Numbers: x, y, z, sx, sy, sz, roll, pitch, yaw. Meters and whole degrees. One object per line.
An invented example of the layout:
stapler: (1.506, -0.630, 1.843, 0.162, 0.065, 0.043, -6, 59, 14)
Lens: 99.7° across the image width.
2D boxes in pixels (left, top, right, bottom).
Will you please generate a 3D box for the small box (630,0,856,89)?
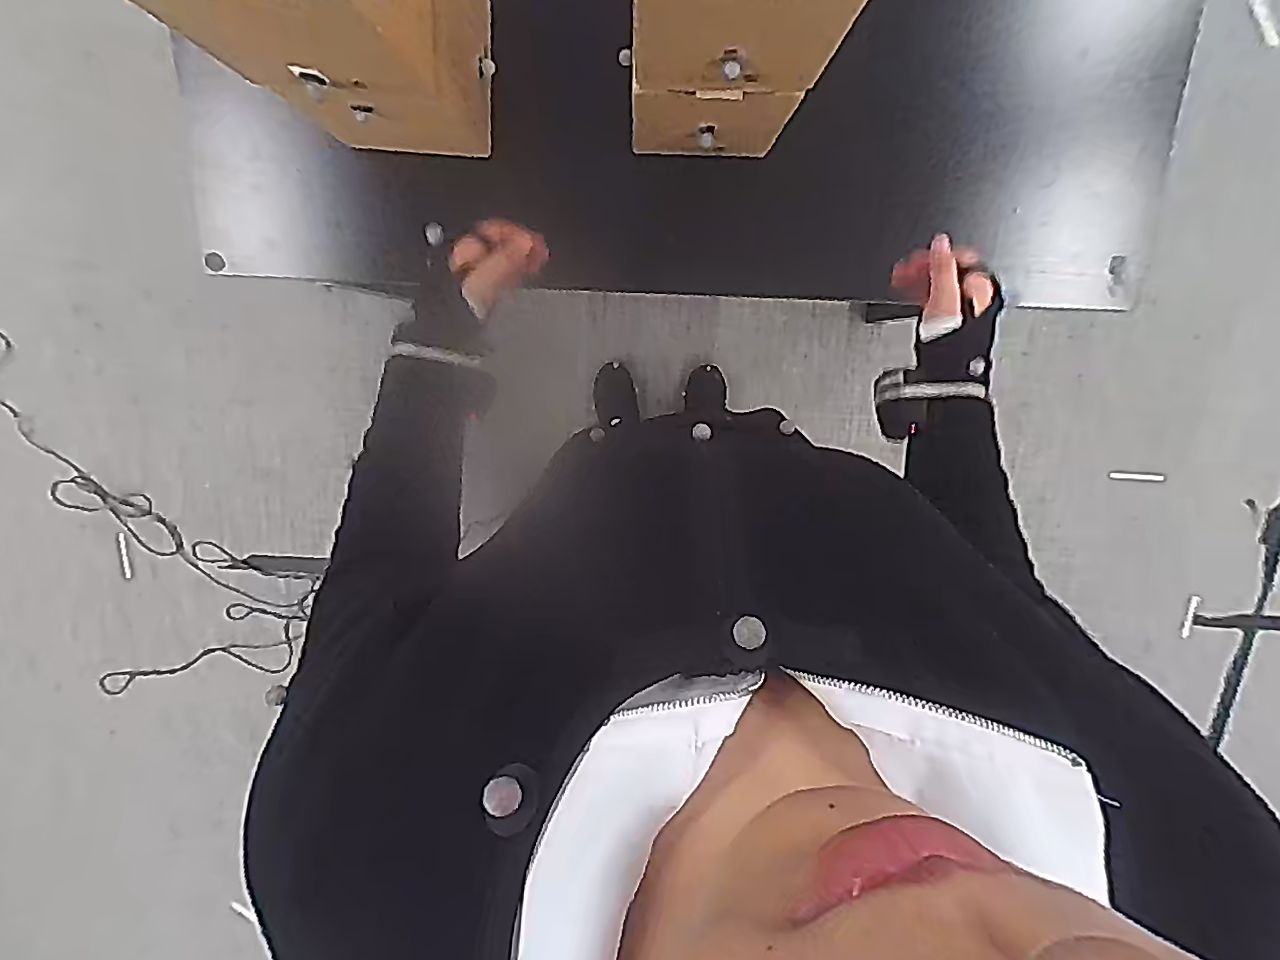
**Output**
small box: (0.076, -0.437, 0.409, 0.168, 0.176, 0.179, 1, 103, 0)

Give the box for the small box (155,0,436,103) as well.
small box: (-0.268, -0.426, 0.411, 0.168, 0.176, 0.179, 3, 104, 0)

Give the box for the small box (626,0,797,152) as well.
small box: (0.072, -0.469, 0.572, 0.168, 0.176, 0.179, 1, 103, 0)

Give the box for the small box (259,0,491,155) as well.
small box: (-0.266, -0.464, 0.569, 0.179, 0.176, 0.168, 3, 103, -2)
